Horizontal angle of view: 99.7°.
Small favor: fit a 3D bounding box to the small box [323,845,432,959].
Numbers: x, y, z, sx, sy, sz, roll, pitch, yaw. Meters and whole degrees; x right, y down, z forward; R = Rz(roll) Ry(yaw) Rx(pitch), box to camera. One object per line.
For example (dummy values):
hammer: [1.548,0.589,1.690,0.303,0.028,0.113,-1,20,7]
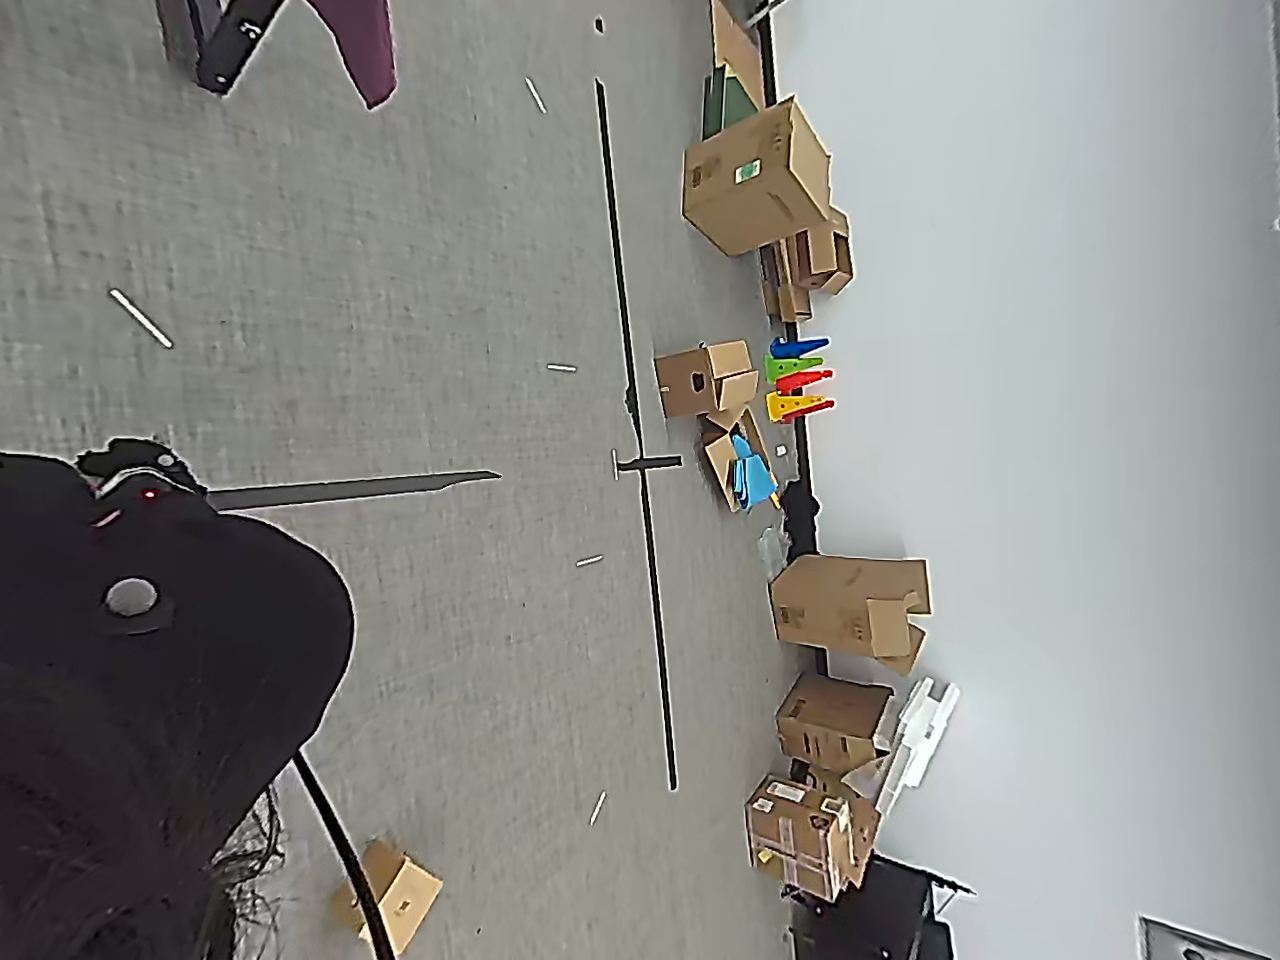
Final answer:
small box: [-0.706,1.122,1.441,0.168,0.176,0.179,61,43,-31]
